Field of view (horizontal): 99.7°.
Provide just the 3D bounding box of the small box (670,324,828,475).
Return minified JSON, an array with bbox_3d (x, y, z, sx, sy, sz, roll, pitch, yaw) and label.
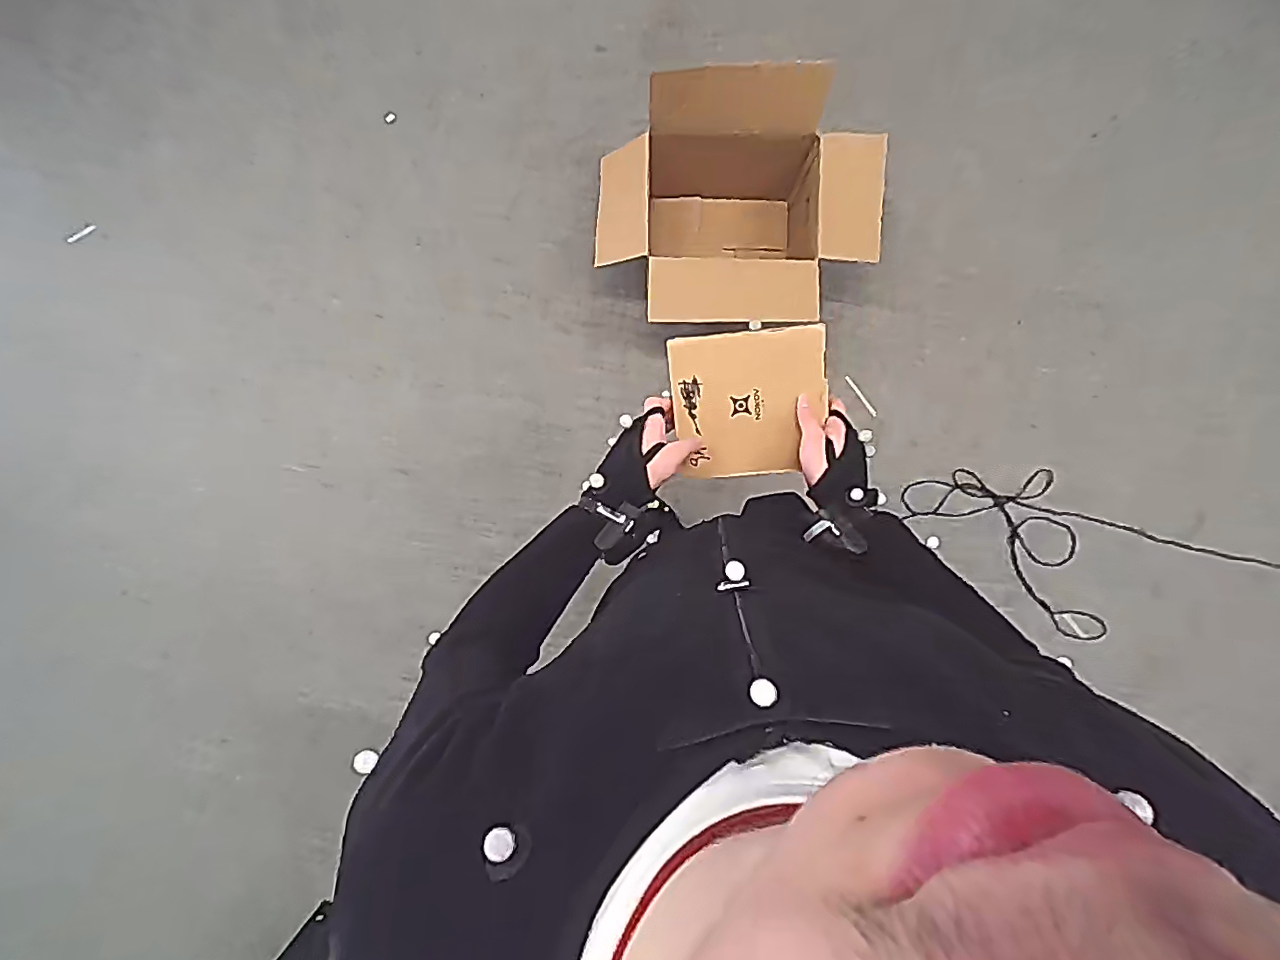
[{"bbox_3d":[0.136,-0.110,0.699,0.179,0.176,0.168,-4,104,10],"label":"small box"}]
